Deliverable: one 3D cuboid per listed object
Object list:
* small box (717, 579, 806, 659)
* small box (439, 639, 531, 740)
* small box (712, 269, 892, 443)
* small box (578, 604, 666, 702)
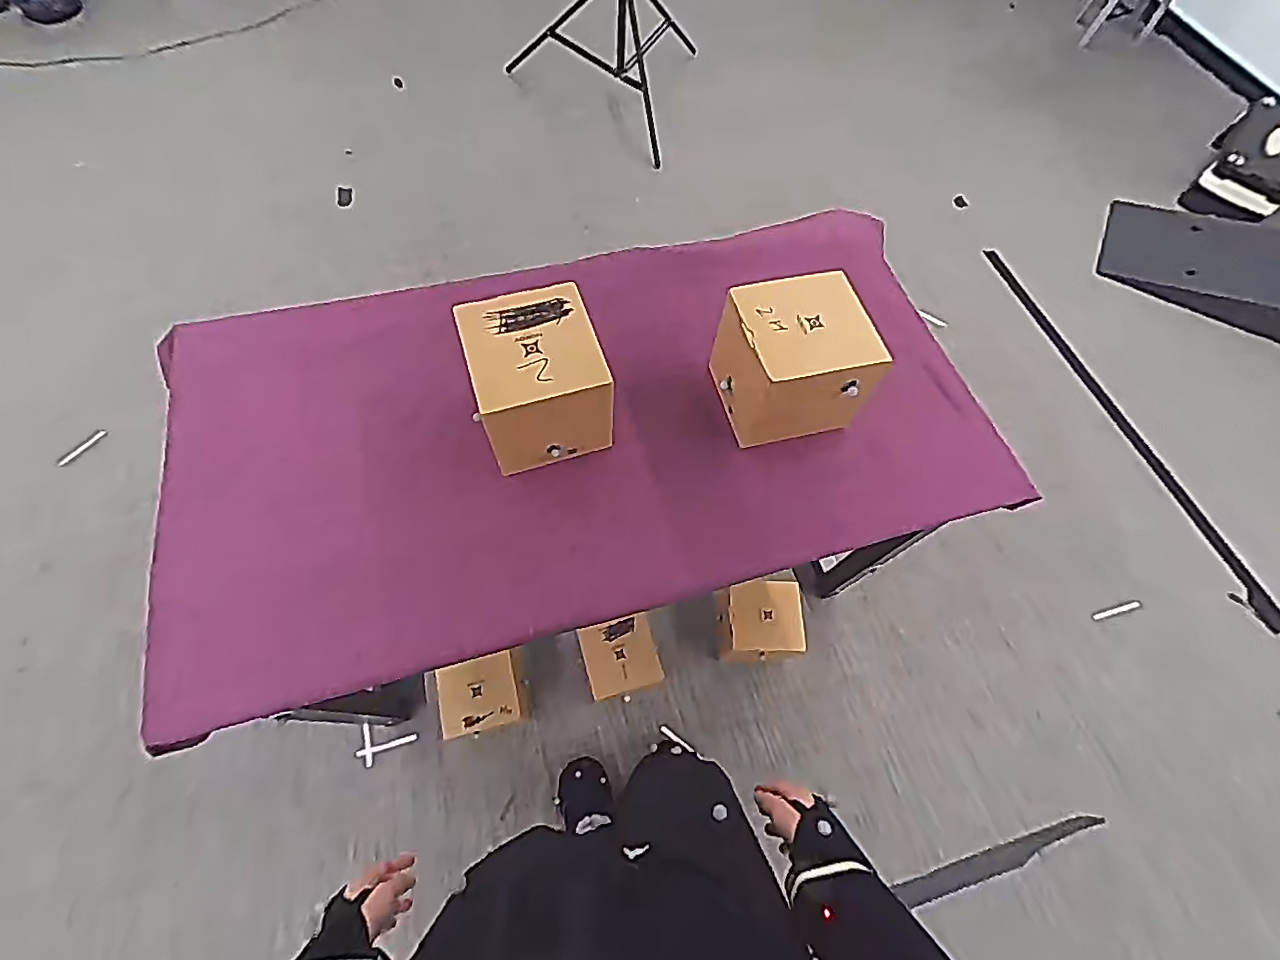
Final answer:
[{"bbox_3d":[0.297,0.351,1.353,0.179,0.176,0.168,1,65,-2],"label":"small box"},{"bbox_3d":[-0.354,0.486,1.247,0.168,0.176,0.179,-12,64,-9],"label":"small box"},{"bbox_3d":[0.221,-0.175,0.790,0.179,0.176,0.168,-12,65,-9],"label":"small box"},{"bbox_3d":[-0.049,0.419,1.297,0.168,0.176,0.179,-14,67,-10],"label":"small box"}]
